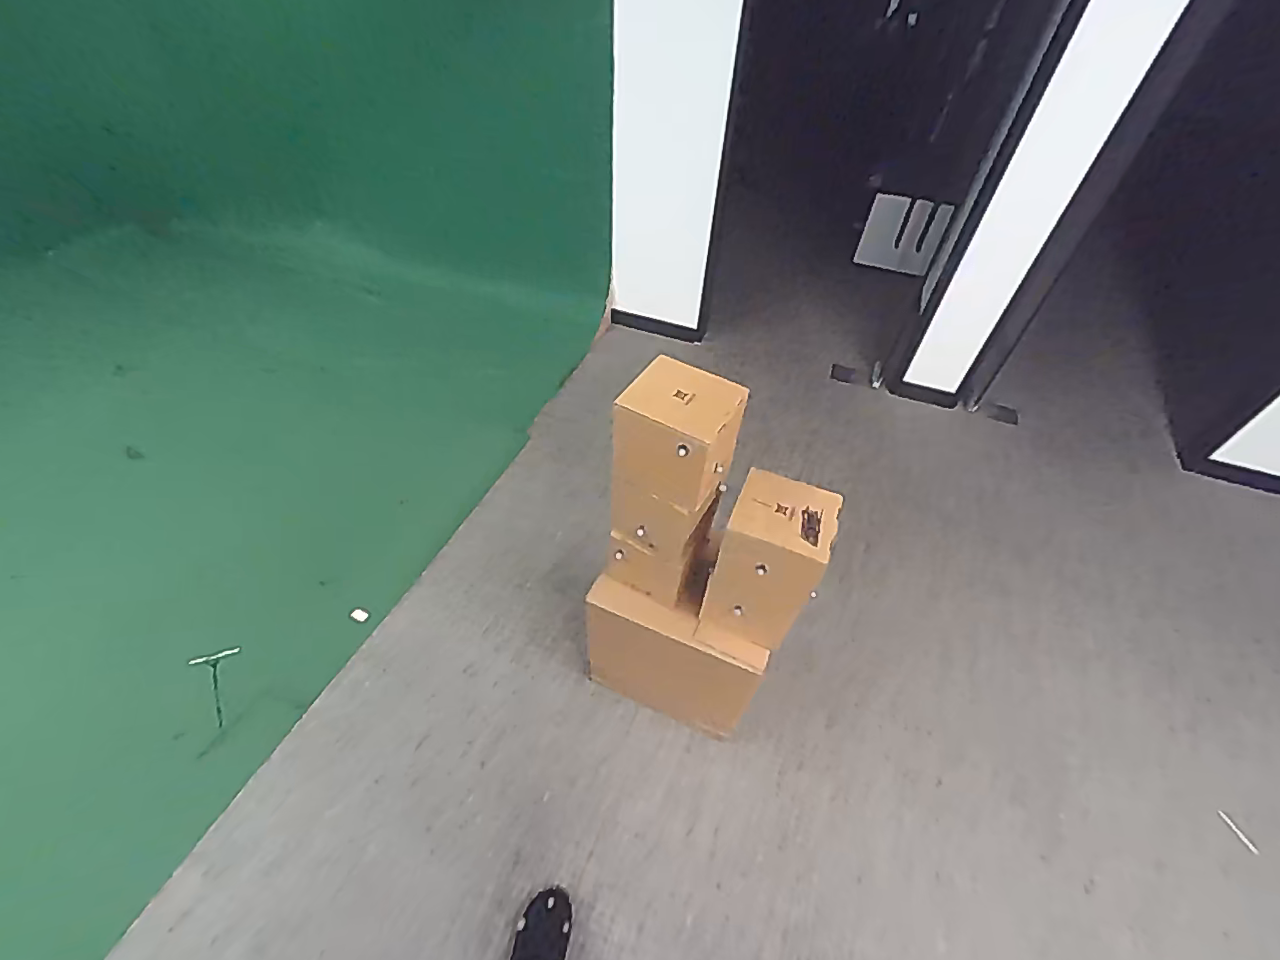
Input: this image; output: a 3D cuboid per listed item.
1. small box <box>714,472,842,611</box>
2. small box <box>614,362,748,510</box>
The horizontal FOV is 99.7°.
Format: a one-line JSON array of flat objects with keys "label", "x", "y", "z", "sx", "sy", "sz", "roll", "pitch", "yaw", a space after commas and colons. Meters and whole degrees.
[{"label": "small box", "x": 0.252, "y": 0.119, "z": 1.006, "sx": 0.179, "sy": 0.176, "sz": 0.168, "roll": 18, "pitch": 49, "yaw": 15}, {"label": "small box", "x": 0.065, "y": -0.075, "z": 0.952, "sx": 0.179, "sy": 0.176, "sz": 0.168, "roll": 25, "pitch": 50, "yaw": 17}]
